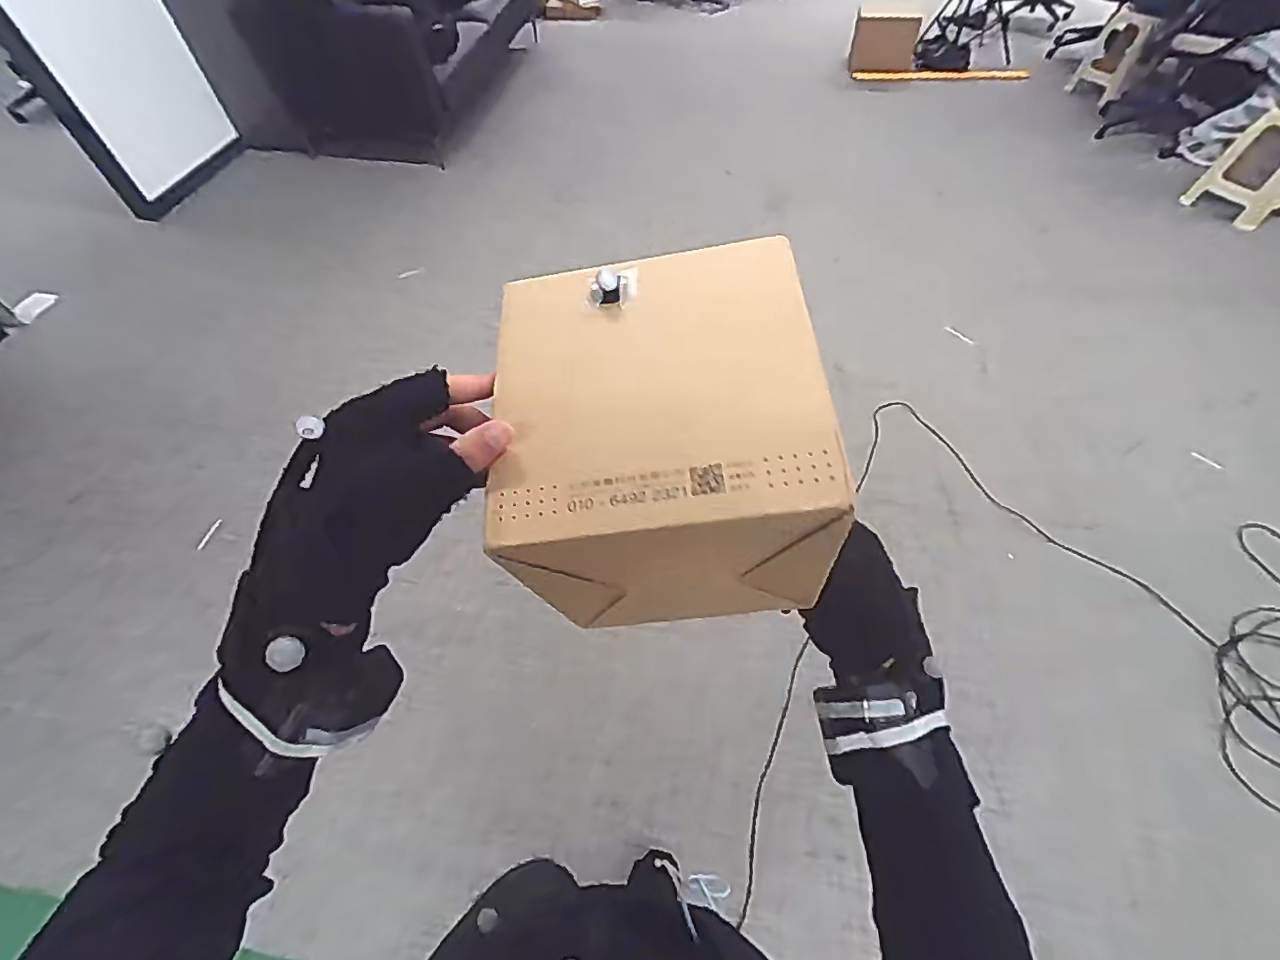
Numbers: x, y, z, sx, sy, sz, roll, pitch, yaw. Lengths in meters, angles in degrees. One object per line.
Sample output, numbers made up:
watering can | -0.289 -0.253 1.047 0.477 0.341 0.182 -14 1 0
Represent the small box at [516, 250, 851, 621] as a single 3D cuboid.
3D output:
small box | 0.024 -0.012 0.354 0.168 0.179 0.176 -7 62 6
